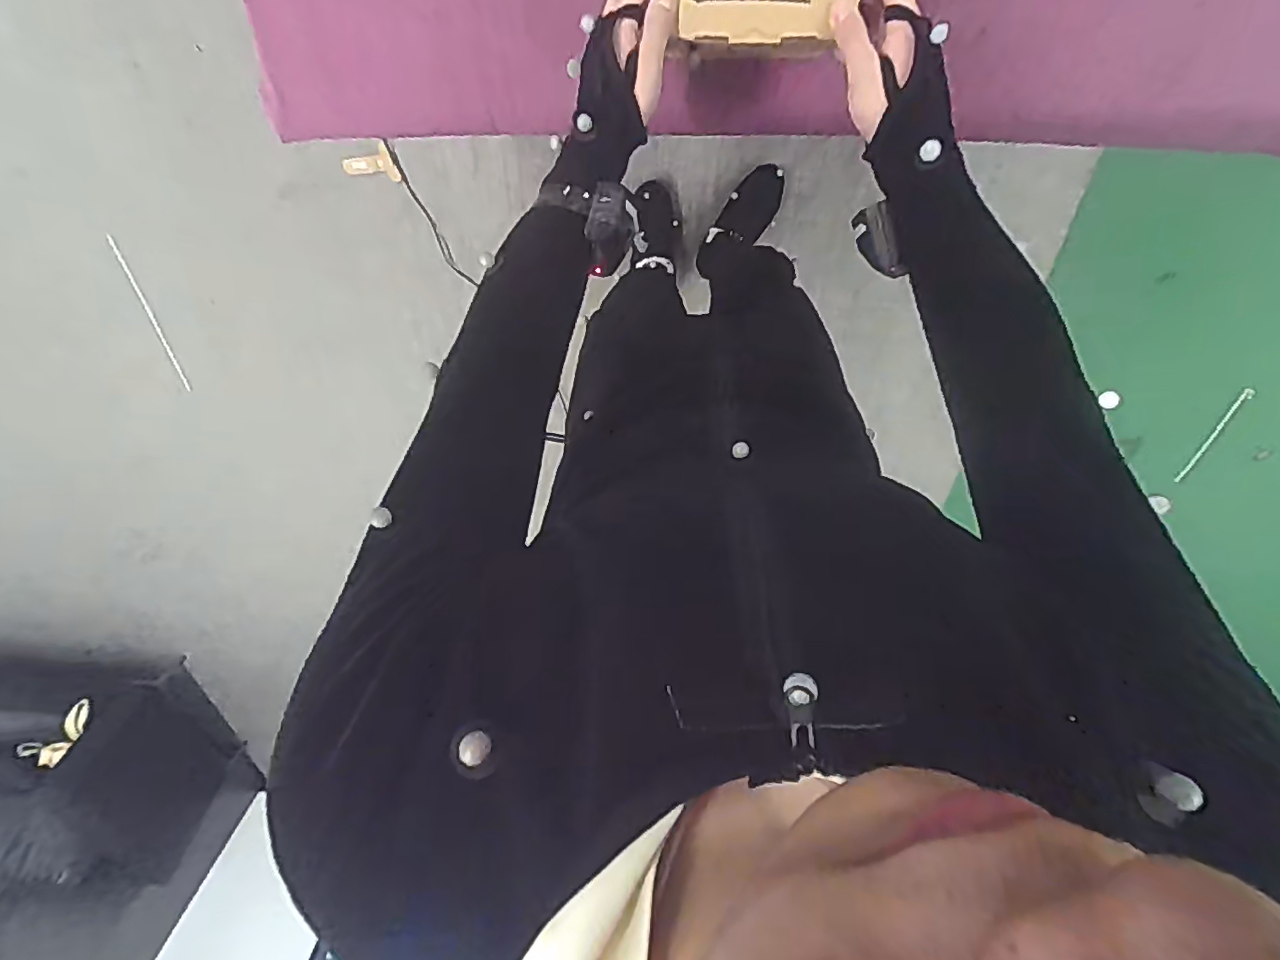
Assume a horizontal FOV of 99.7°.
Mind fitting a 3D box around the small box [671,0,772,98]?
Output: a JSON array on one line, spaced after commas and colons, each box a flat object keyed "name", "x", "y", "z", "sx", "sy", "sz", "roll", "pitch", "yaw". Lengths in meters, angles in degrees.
[{"name": "small box", "x": 0.159, "y": -0.873, "z": 1.088, "sx": 0.179, "sy": 0.176, "sz": 0.168, "roll": 5, "pitch": 125, "yaw": 4}]

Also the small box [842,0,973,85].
[{"name": "small box", "x": 0.509, "y": -0.872, "z": 1.045, "sx": 0.179, "sy": 0.176, "sz": 0.168, "roll": 6, "pitch": 126, "yaw": 3}]
